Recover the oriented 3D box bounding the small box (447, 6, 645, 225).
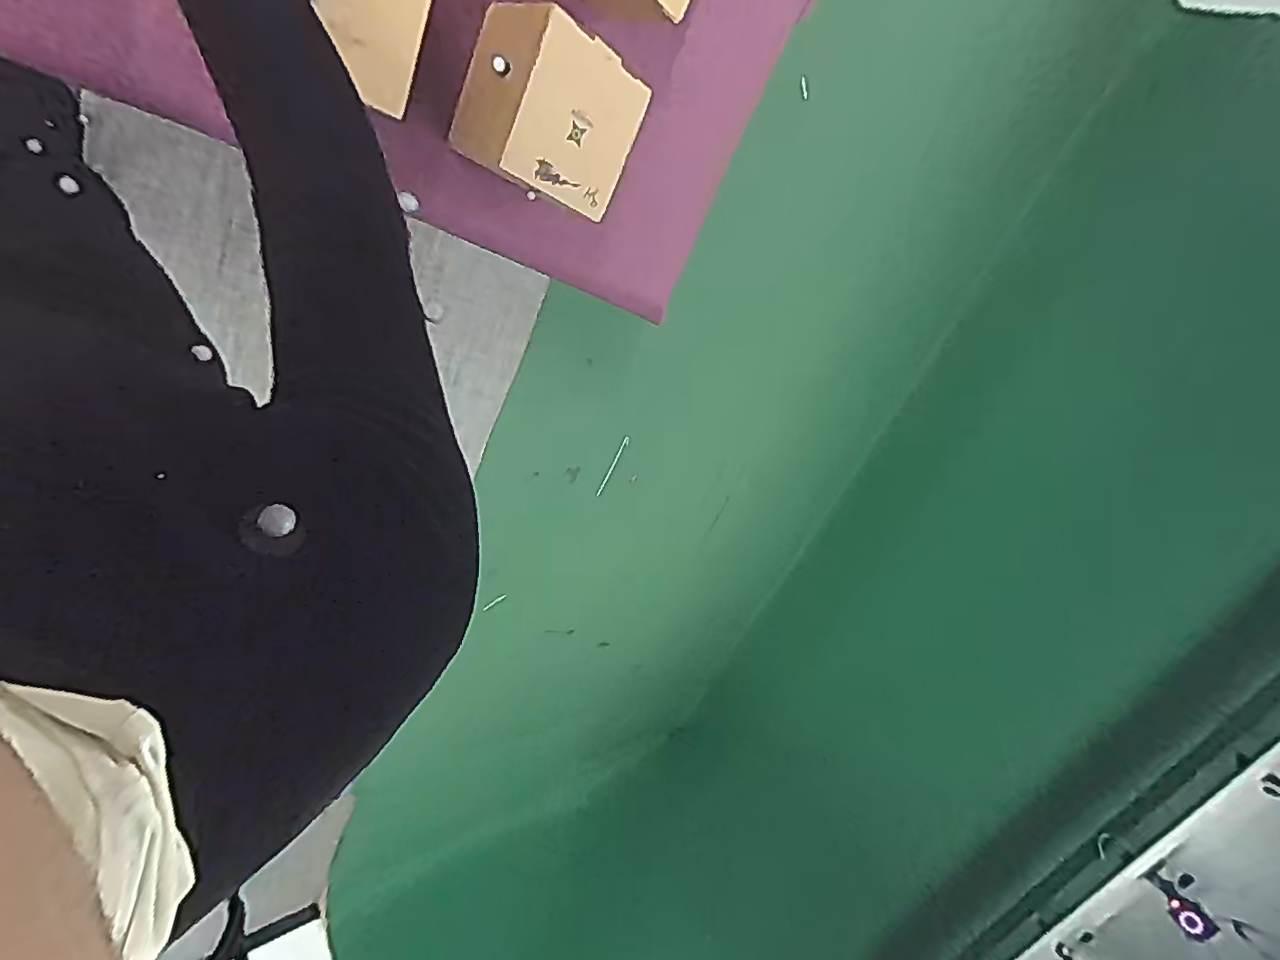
[{"bbox_3d":[-0.131,-0.474,0.714,0.168,0.176,0.179,7,117,-46],"label":"small box"}]

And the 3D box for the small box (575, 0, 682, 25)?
[{"bbox_3d":[-0.027,-0.682,0.629,0.168,0.176,0.179,6,119,-46],"label":"small box"}]

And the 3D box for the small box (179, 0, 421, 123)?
[{"bbox_3d":[-0.325,-0.487,0.518,0.168,0.176,0.179,5,120,-45],"label":"small box"}]
